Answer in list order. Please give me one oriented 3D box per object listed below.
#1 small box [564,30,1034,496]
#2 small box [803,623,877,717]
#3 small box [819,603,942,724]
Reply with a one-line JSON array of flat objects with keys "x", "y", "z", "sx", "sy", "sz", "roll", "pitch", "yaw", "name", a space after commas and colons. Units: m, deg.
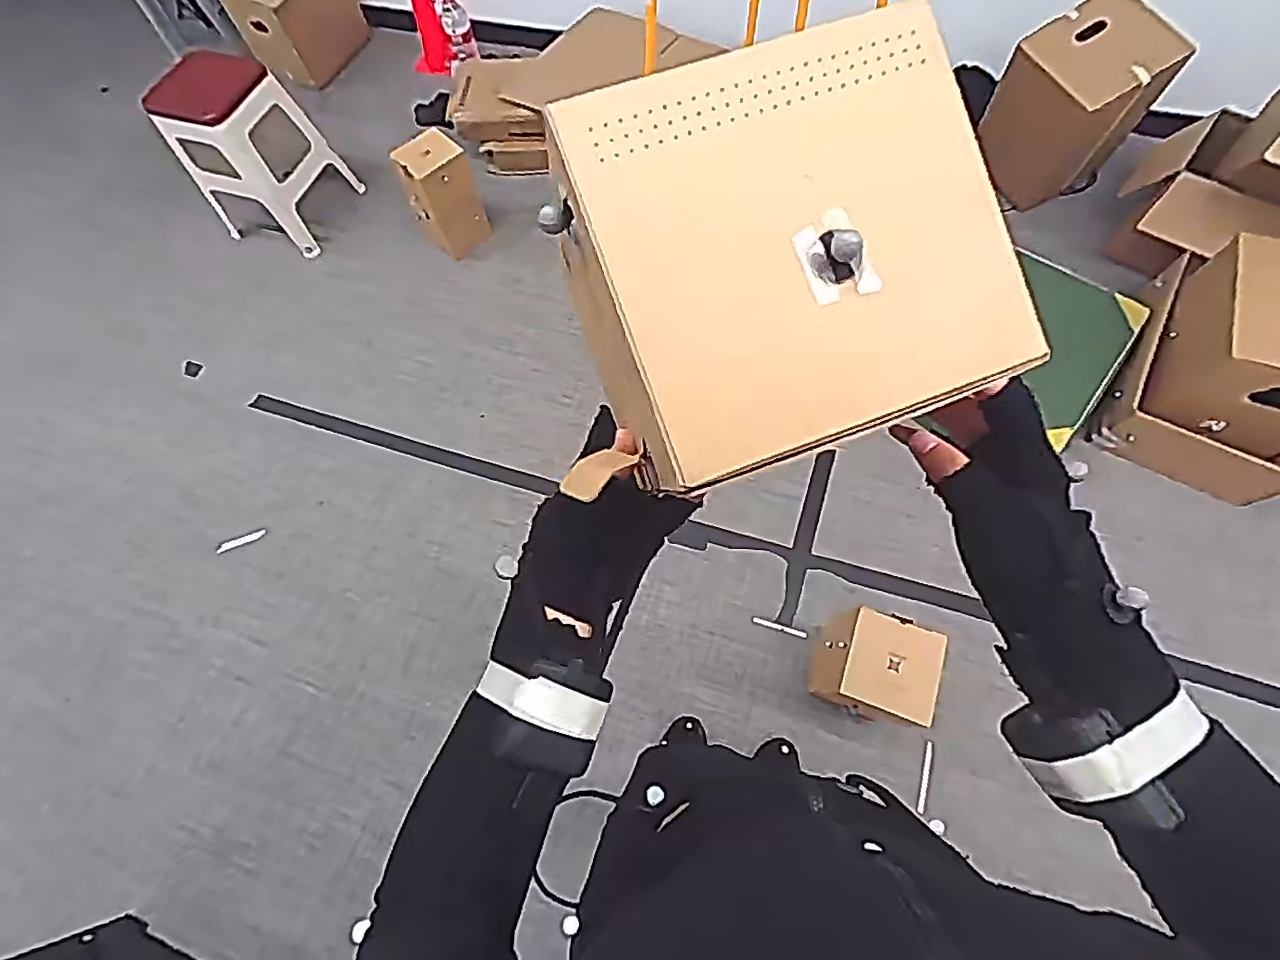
[{"x": 0.062, "y": -0.099, "z": 0.311, "sx": 0.179, "sy": 0.168, "sz": 0.176, "roll": -21, "pitch": 92, "yaw": -7, "name": "small box"}, {"x": 0.501, "y": 0.437, "z": 1.253, "sx": 0.179, "sy": 0.176, "sz": 0.168, "roll": 20, "pitch": 69, "yaw": 10, "name": "small box"}, {"x": 0.482, "y": 0.375, "z": 1.104, "sx": 0.168, "sy": 0.176, "sz": 0.179, "roll": 19, "pitch": 71, "yaw": 12, "name": "small box"}]
